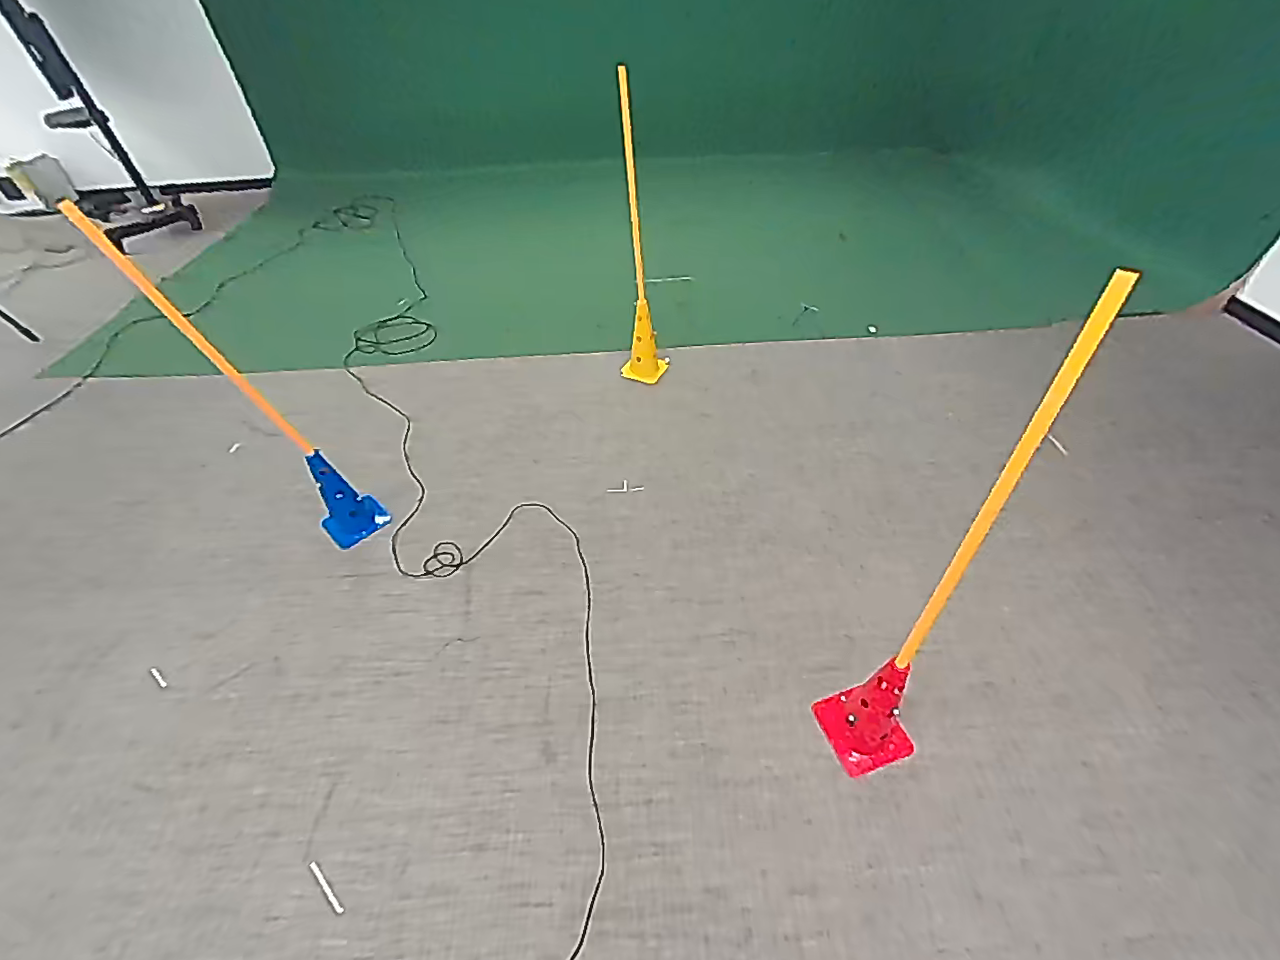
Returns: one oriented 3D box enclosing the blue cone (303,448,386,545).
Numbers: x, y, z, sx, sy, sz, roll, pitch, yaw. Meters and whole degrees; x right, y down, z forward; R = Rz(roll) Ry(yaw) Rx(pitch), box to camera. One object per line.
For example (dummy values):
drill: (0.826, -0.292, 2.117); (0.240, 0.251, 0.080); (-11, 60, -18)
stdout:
blue cone: (-1.068, 0.038, 1.892); (0.192, 0.380, 0.193); (32, 57, 29)
